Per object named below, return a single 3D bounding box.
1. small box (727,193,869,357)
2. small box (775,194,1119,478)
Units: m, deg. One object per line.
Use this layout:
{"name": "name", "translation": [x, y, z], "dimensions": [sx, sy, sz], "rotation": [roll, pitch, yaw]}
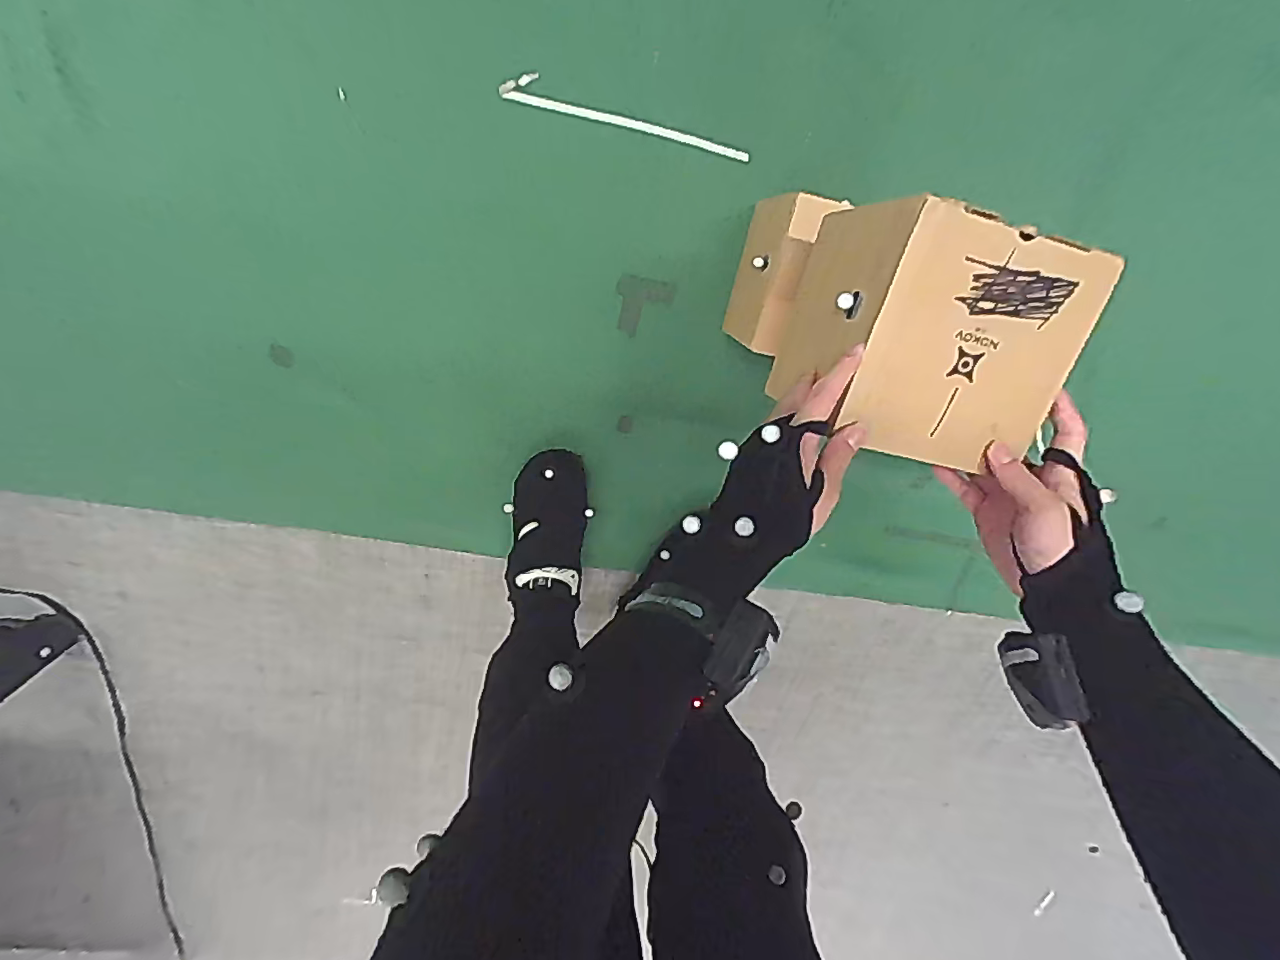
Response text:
{"name": "small box", "translation": [0.225, -0.247, 0.698], "dimensions": [0.168, 0.176, 0.179], "rotation": [11, 112, -9]}
{"name": "small box", "translation": [0.240, -0.126, 0.477], "dimensions": [0.168, 0.176, 0.179], "rotation": [12, 110, -11]}
